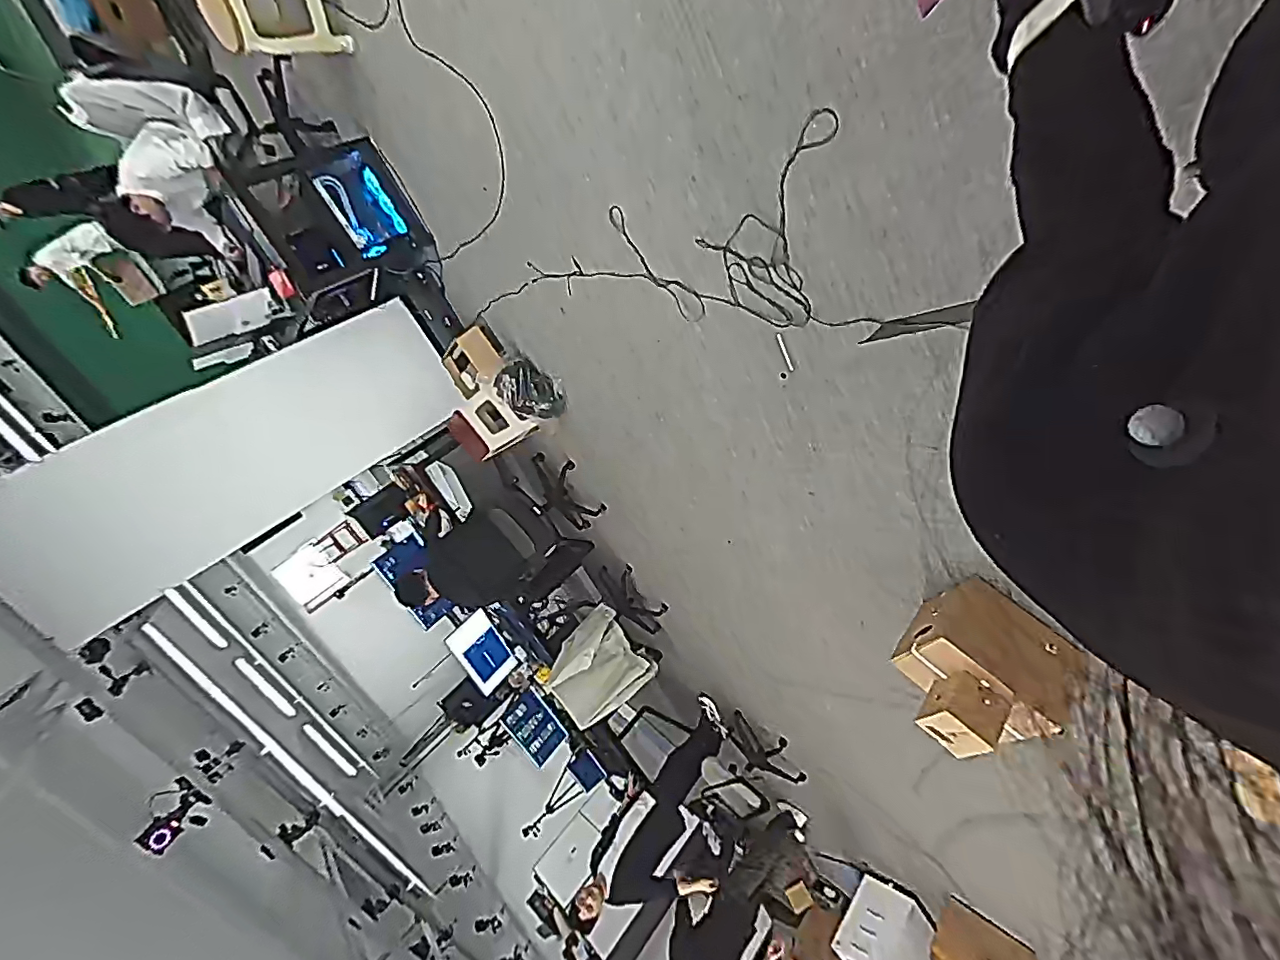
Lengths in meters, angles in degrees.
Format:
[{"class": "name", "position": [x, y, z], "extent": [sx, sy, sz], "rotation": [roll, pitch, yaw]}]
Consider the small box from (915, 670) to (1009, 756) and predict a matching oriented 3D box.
[{"class": "small box", "position": [1.020, 0.737, 1.711], "extent": [0.168, 0.176, 0.179], "rotation": [40, 148, 16]}]
